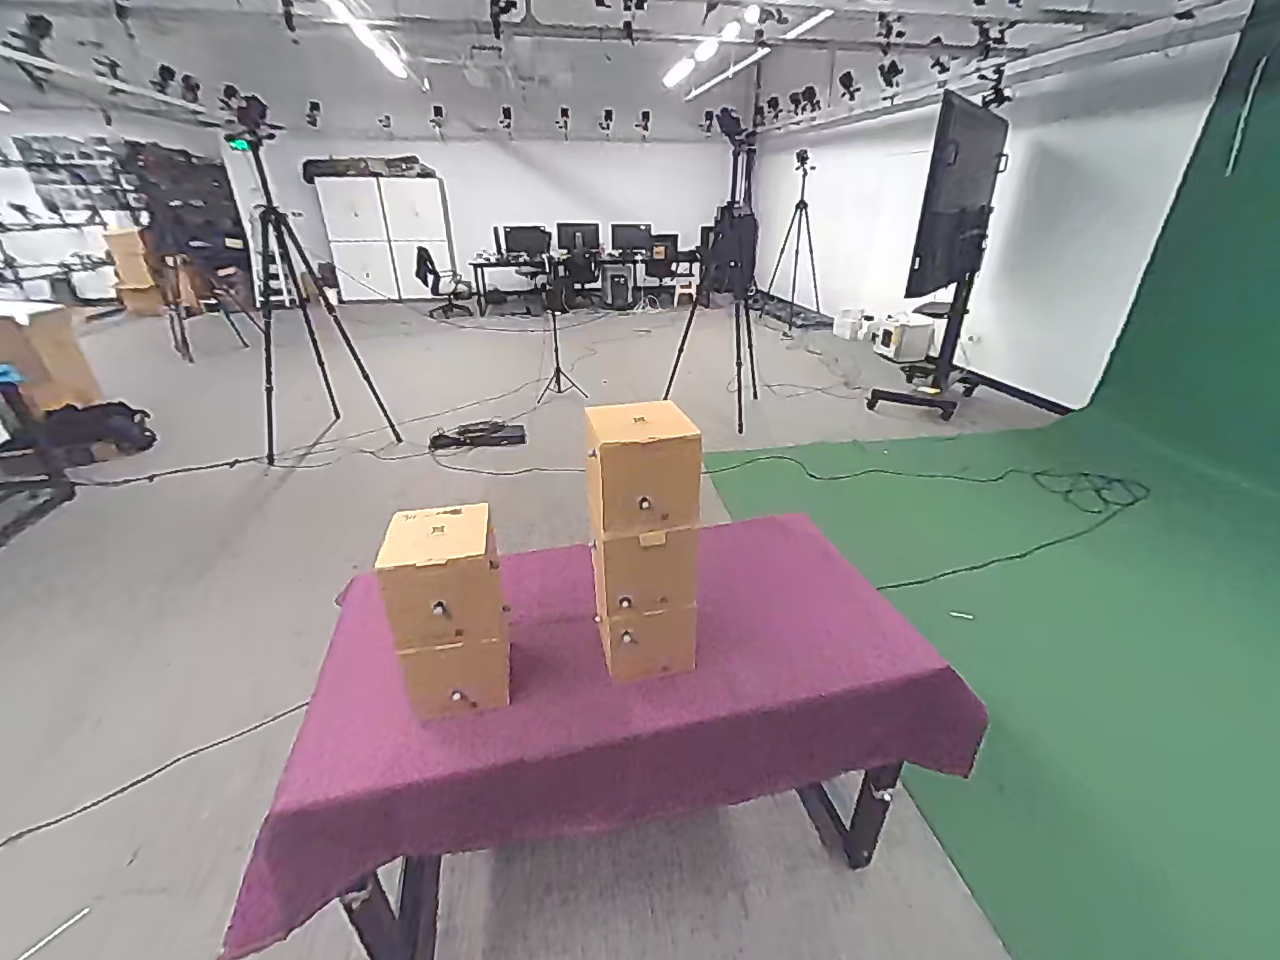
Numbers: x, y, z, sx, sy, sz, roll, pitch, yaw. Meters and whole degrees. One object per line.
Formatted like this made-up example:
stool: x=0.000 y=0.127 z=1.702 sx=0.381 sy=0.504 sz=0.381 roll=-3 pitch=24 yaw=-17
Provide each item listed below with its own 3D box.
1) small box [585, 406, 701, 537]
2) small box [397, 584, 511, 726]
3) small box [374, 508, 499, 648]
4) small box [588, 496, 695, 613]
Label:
small box: x=-0.002 y=-0.020 z=0.943 sx=0.168 sy=0.176 sz=0.179 roll=-7 pitch=28 yaw=-13
small box: x=-0.334 y=0.319 z=1.006 sx=0.168 sy=0.176 sz=0.179 roll=-7 pitch=27 yaw=-10
small box: x=-0.337 y=0.170 z=0.935 sx=0.168 sy=0.176 sz=0.179 roll=-6 pitch=27 yaw=-11
small box: x=0.000 y=0.131 z=1.007 sx=0.168 sy=0.176 sz=0.179 roll=-7 pitch=26 yaw=-12
